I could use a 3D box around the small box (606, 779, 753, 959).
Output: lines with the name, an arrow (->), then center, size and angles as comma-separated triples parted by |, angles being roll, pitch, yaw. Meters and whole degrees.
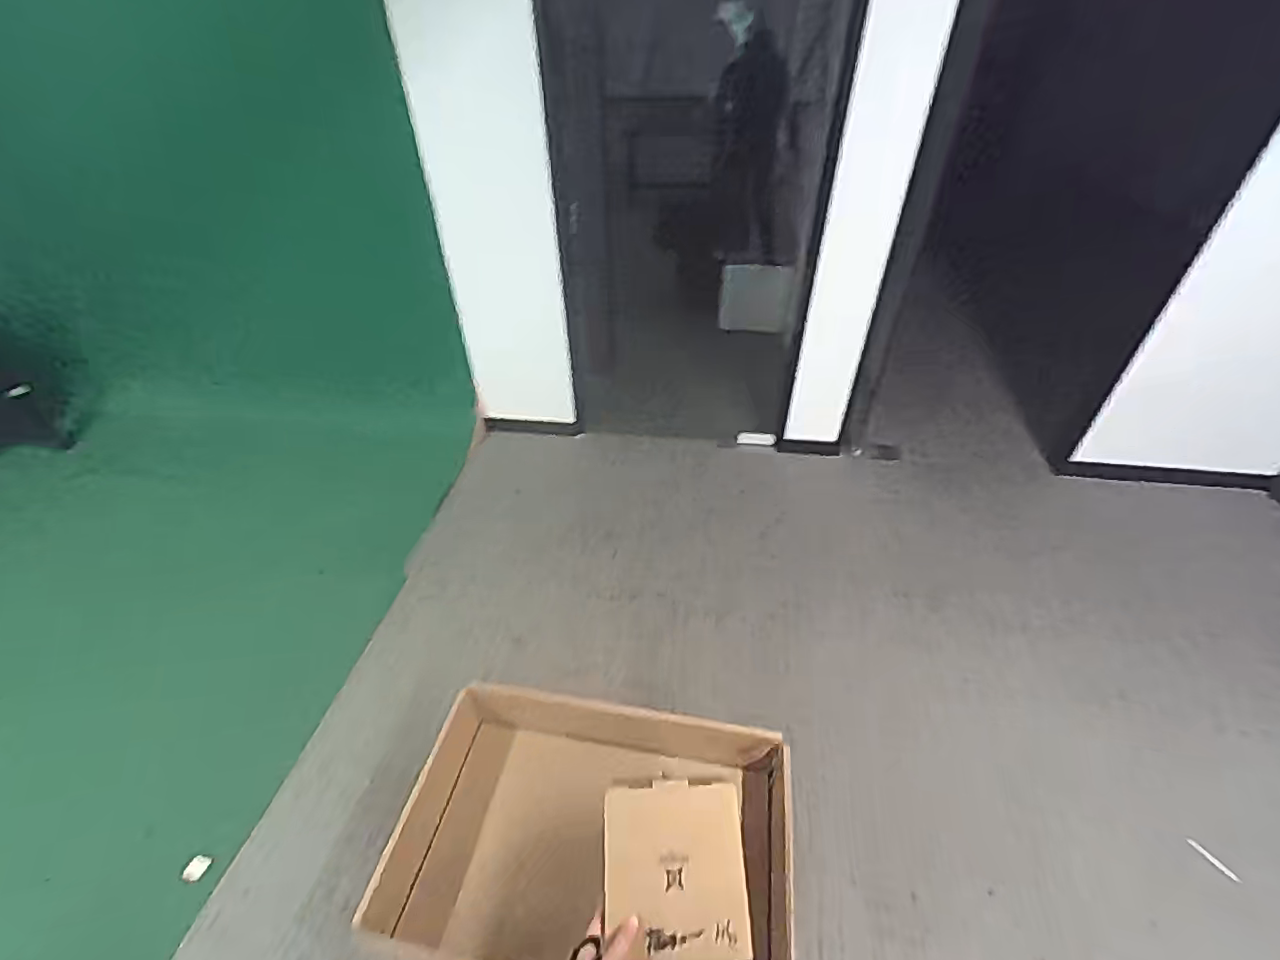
small box -> 0.042, 0.488, 0.701 | 0.168, 0.176, 0.179 | -1, 63, 0
